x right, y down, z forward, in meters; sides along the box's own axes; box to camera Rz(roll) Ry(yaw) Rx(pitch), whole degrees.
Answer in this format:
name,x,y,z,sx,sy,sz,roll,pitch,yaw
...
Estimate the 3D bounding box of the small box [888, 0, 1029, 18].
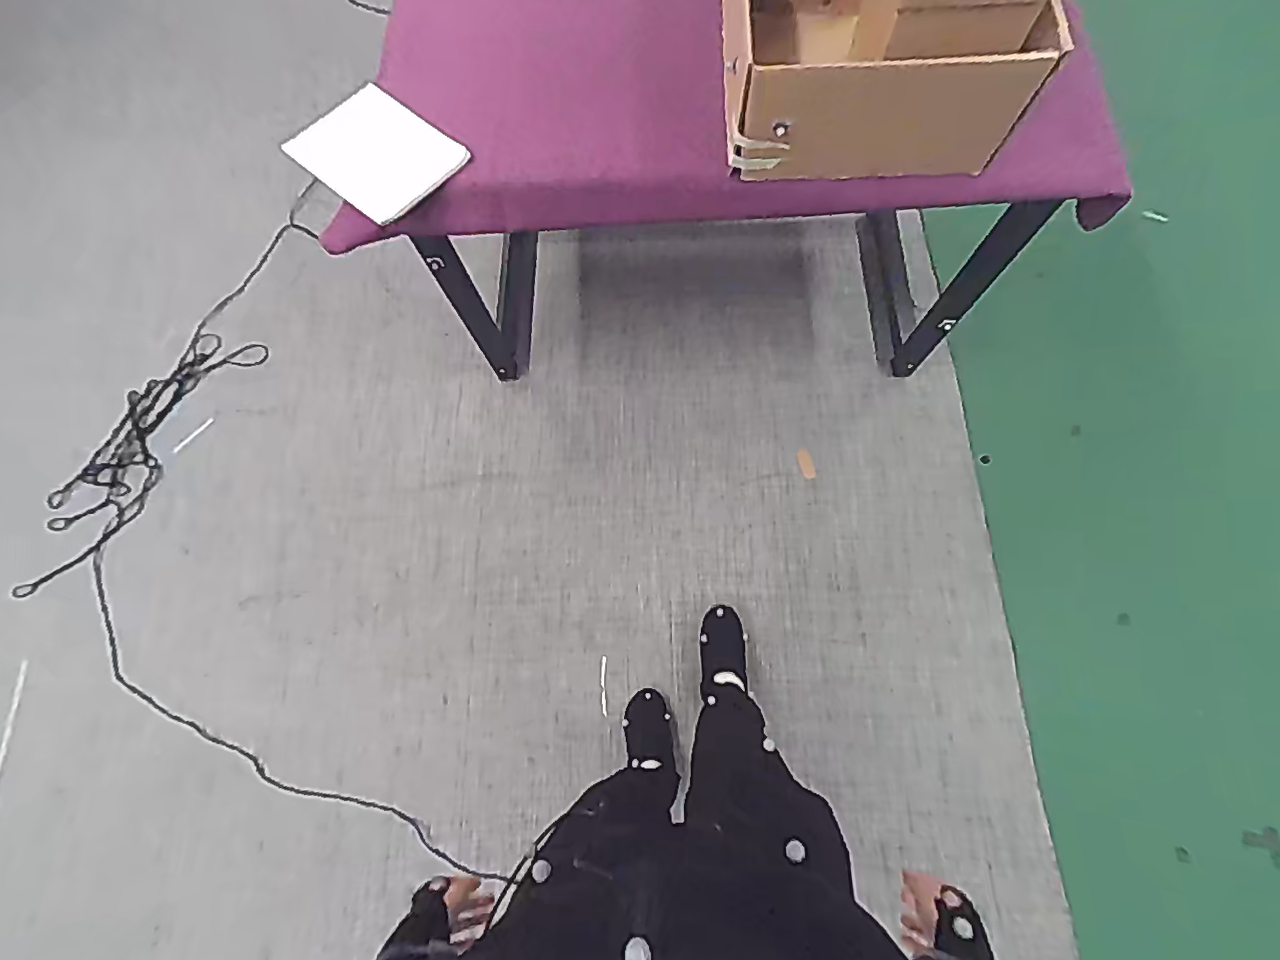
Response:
name,x,y,z,sx,sy,sz,roll,pitch,yaw
small box,0.393,-0.664,0.602,0.179,0.176,0.168,1,72,7
